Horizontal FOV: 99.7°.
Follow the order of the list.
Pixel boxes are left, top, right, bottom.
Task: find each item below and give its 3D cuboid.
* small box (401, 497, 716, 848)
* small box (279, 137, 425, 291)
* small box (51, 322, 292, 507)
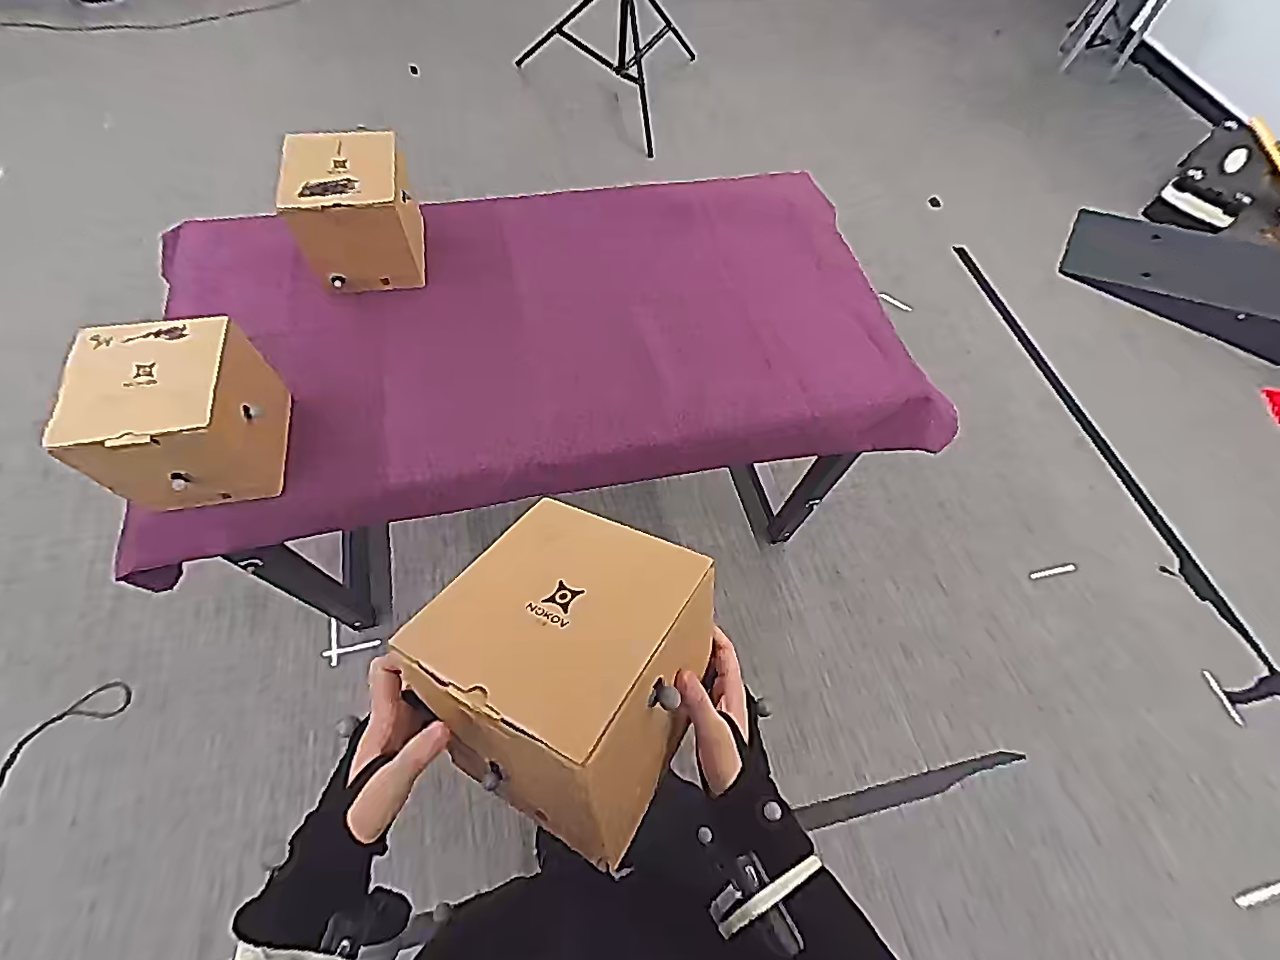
[{"bbox_3d":[-0.050,0.148,0.441,0.168,0.176,0.179,18,45,24],"label":"small box"},{"bbox_3d":[-0.465,-0.433,0.900,0.168,0.176,0.179,-8,64,-9],"label":"small box"},{"bbox_3d":[-0.582,-0.076,0.704,0.168,0.176,0.179,-9,64,-10],"label":"small box"}]
